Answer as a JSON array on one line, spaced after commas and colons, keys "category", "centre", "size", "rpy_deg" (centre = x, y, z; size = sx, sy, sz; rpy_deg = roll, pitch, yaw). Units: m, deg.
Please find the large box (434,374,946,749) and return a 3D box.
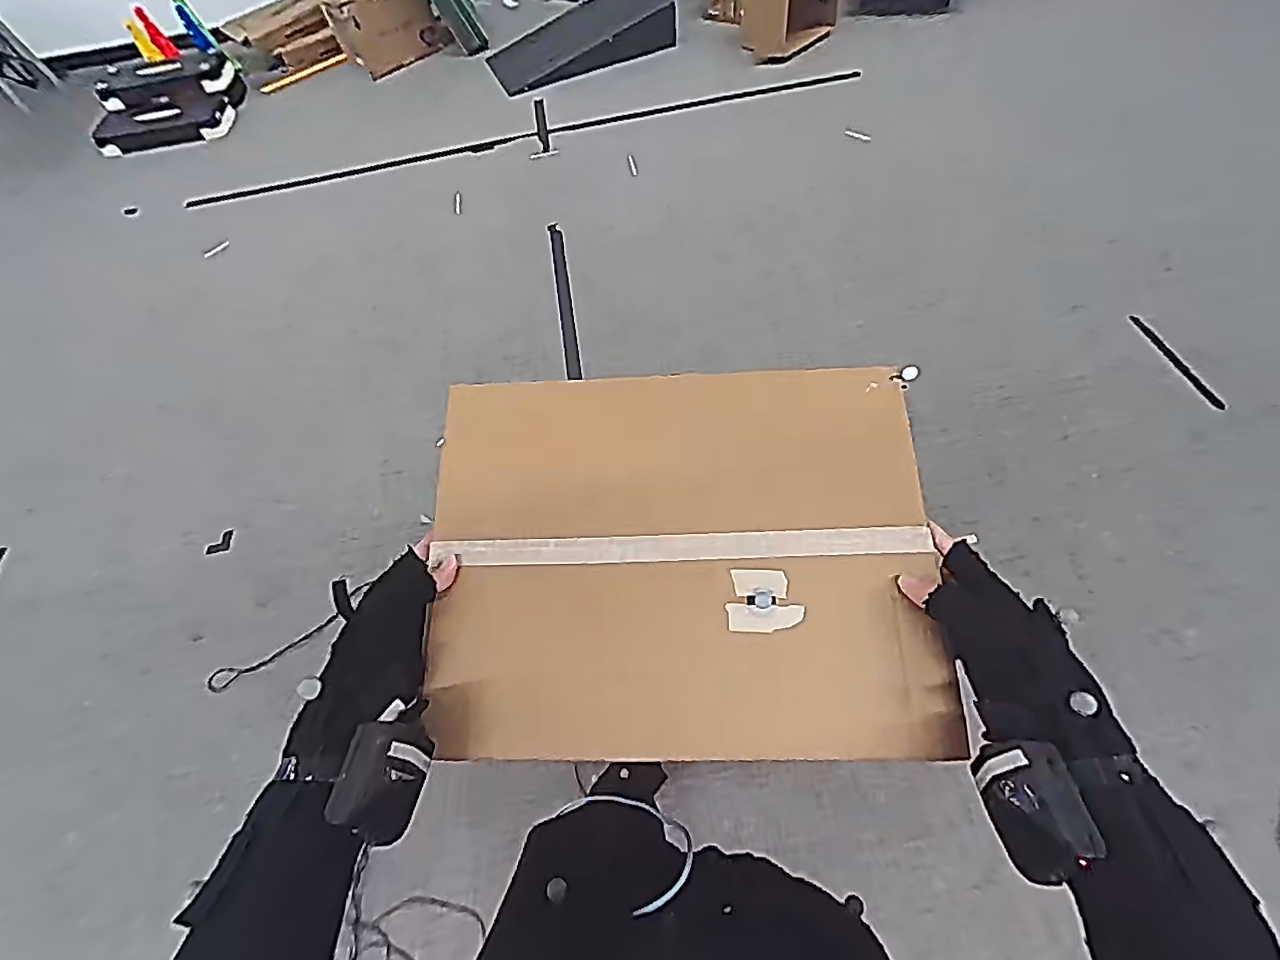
[{"category": "large box", "centre": [0.037, 0.102, 0.602], "size": [0.408, 0.320, 0.320], "rpy_deg": [-2, 72, 3]}]
